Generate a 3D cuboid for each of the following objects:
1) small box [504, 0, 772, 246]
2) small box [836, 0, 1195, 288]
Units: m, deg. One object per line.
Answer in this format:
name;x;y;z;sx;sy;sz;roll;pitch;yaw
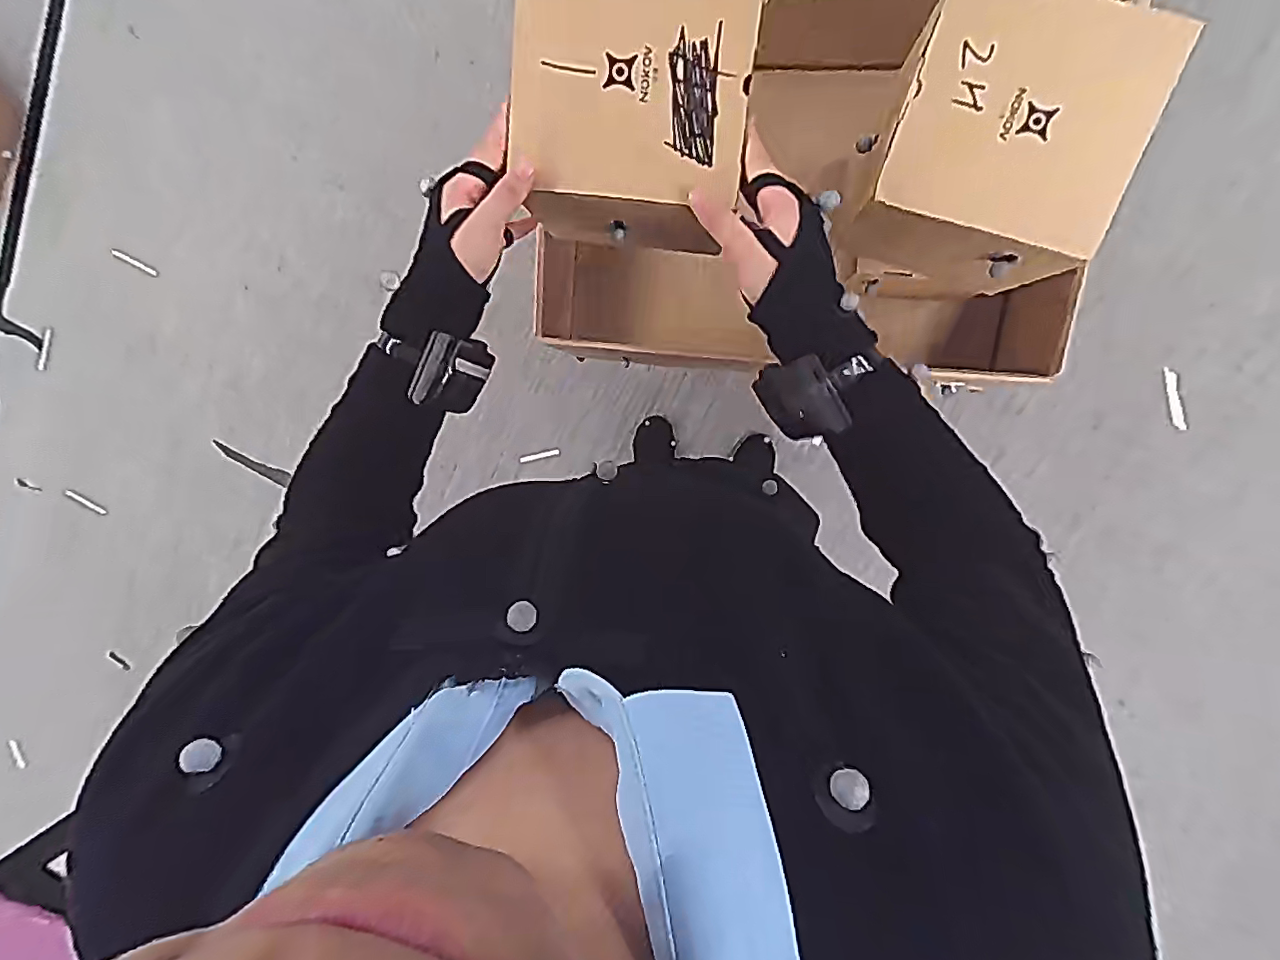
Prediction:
small box;0.001;-0.302;0.452;0.179;0.176;0.168;8;104;4
small box;0.301;-0.284;0.484;0.179;0.176;0.168;19;102;6
